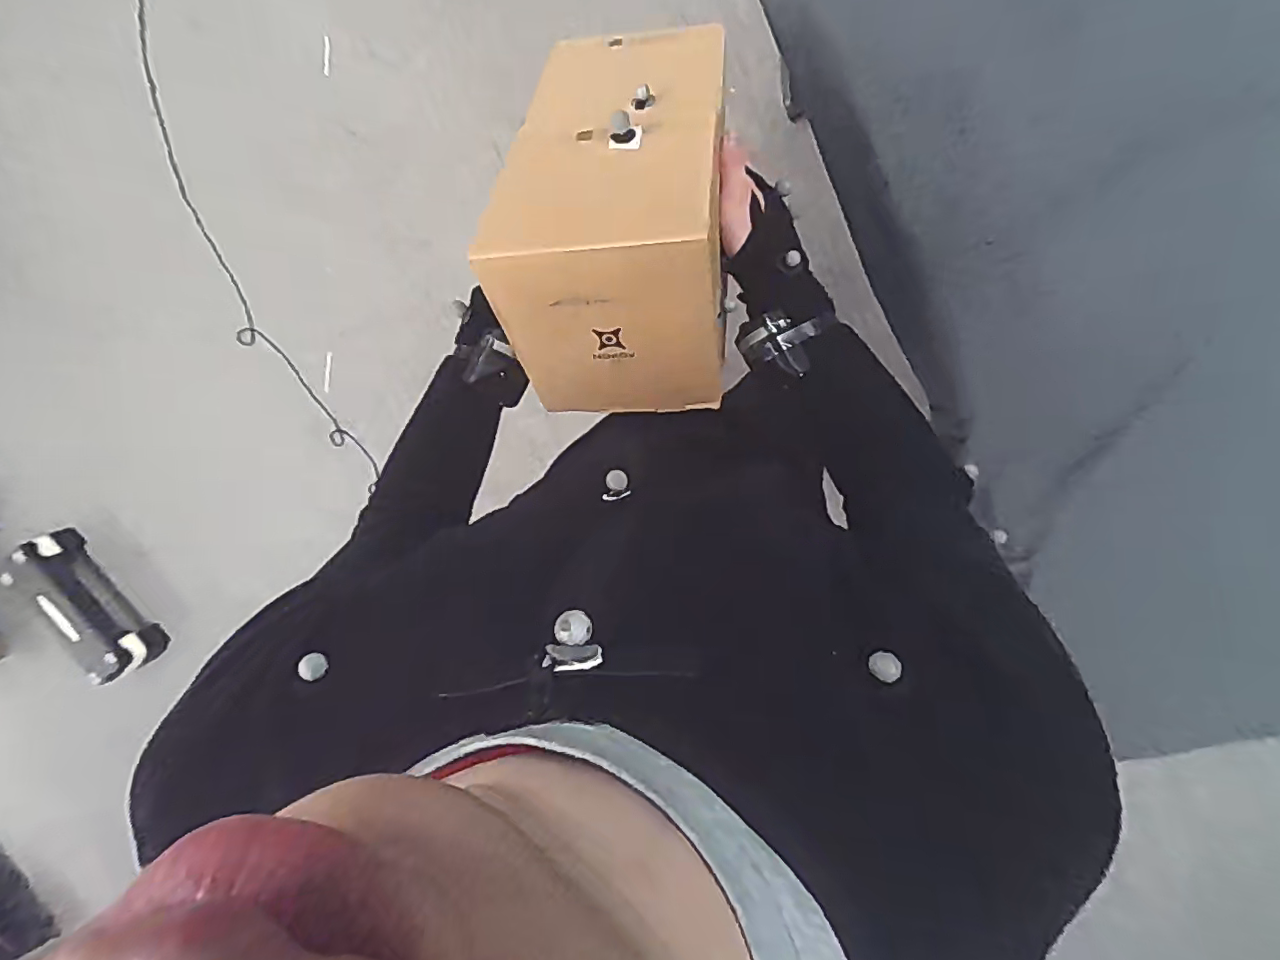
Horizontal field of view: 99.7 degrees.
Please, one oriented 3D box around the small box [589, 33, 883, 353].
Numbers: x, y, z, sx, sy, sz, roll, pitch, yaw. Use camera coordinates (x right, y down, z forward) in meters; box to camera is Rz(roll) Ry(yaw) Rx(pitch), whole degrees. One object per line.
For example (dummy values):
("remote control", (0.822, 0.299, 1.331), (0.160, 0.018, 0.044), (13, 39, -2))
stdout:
("small box", (0.066, -0.239, 0.464), (0.179, 0.168, 0.176), (8, 134, -19))
